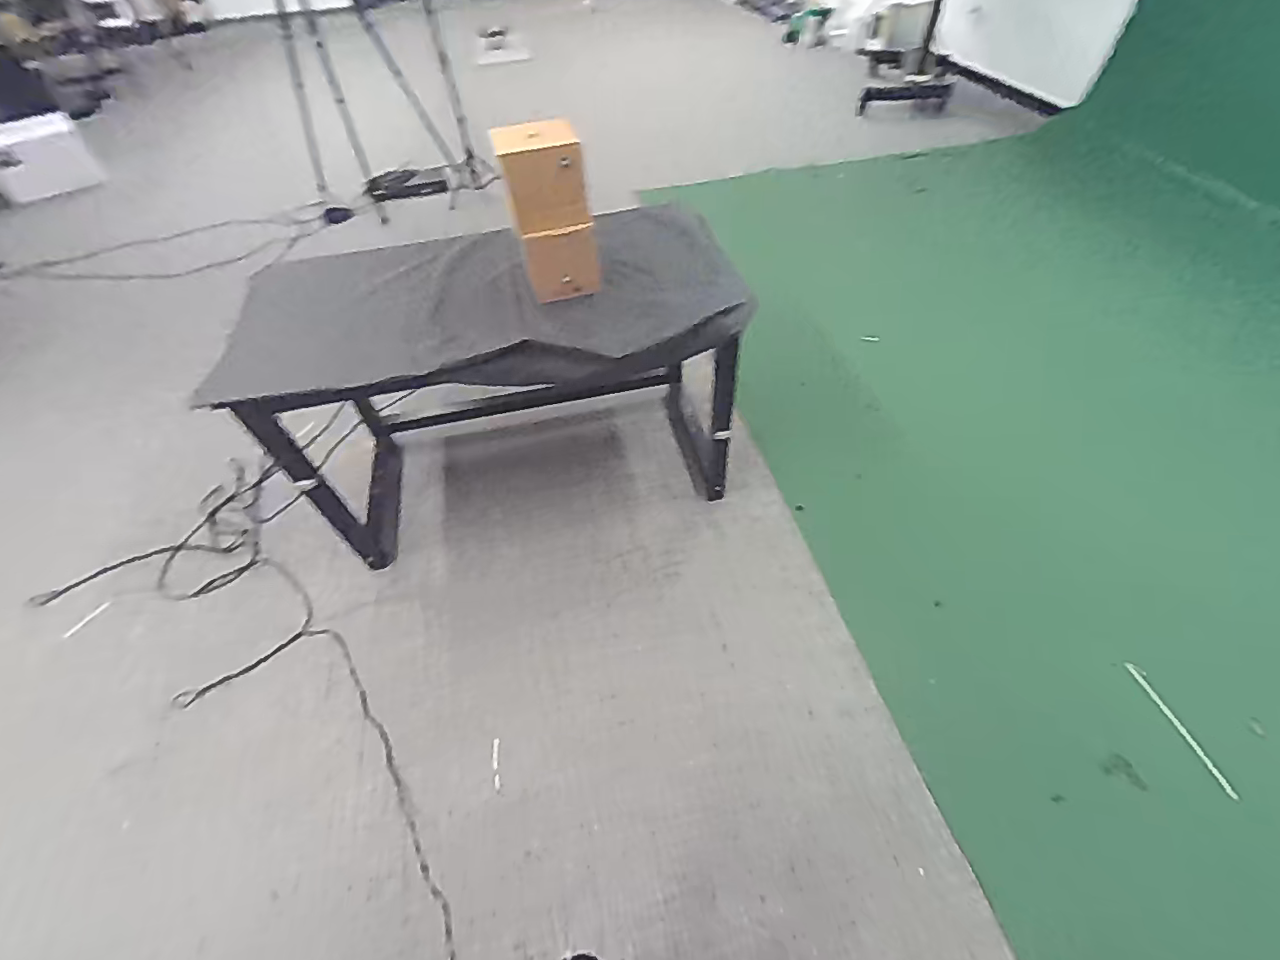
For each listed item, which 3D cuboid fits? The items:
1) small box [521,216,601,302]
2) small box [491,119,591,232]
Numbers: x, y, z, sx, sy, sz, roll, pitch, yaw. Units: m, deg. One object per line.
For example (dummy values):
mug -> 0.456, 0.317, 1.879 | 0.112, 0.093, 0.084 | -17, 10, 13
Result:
small box -> -0.198, -0.564, 1.325 | 0.168, 0.176, 0.179 | -13, 51, -7
small box -> -0.218, -0.675, 1.206 | 0.179, 0.176, 0.168 | -14, 51, -9
